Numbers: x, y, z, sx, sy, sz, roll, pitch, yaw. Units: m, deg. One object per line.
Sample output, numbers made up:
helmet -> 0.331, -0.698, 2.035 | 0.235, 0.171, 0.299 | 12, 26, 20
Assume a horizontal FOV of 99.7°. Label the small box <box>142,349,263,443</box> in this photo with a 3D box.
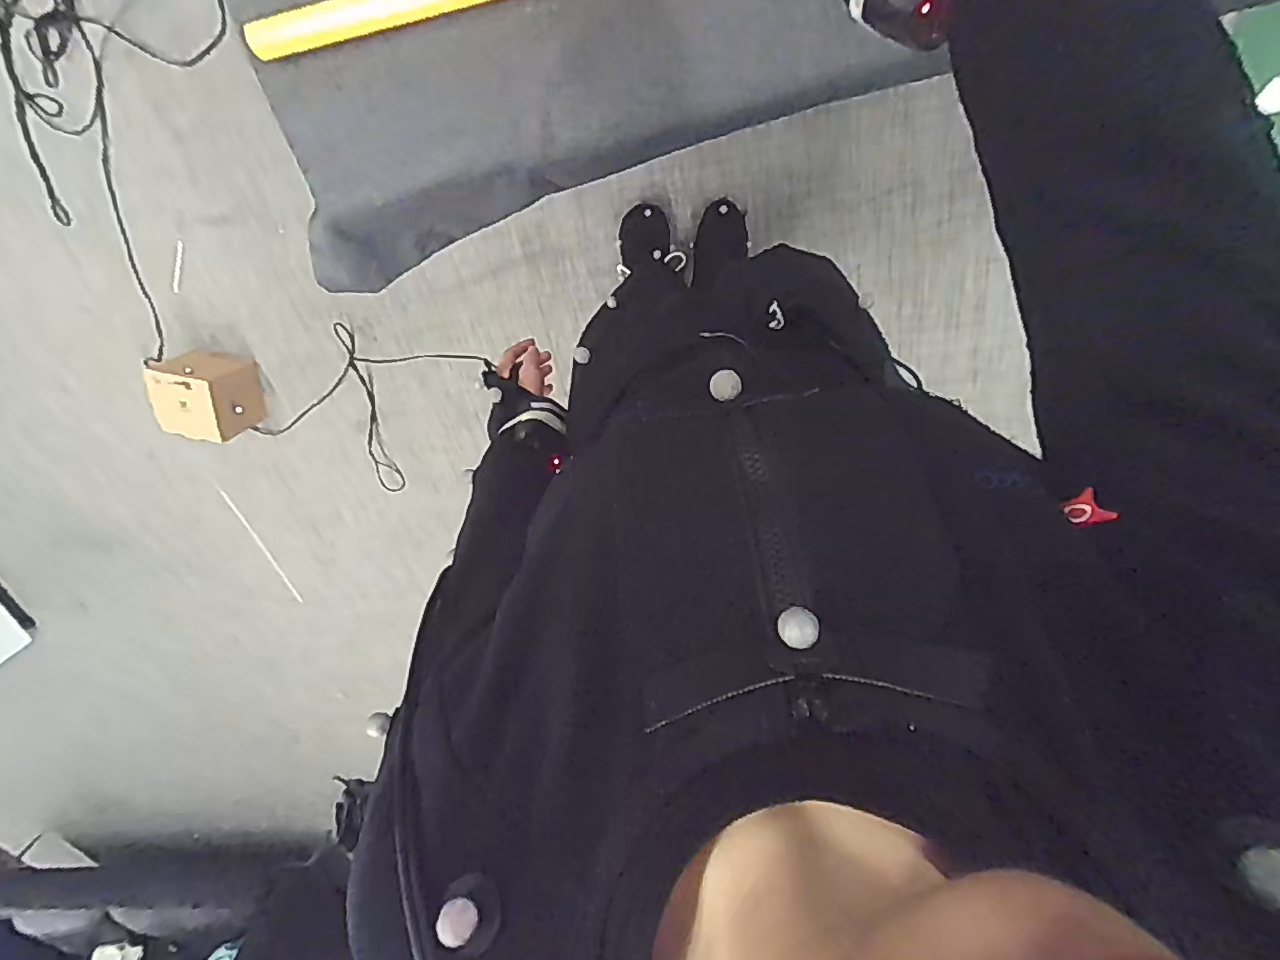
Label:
small box -> -1.133, -0.223, 1.419 | 0.168, 0.176, 0.179 | 12, 121, 1
